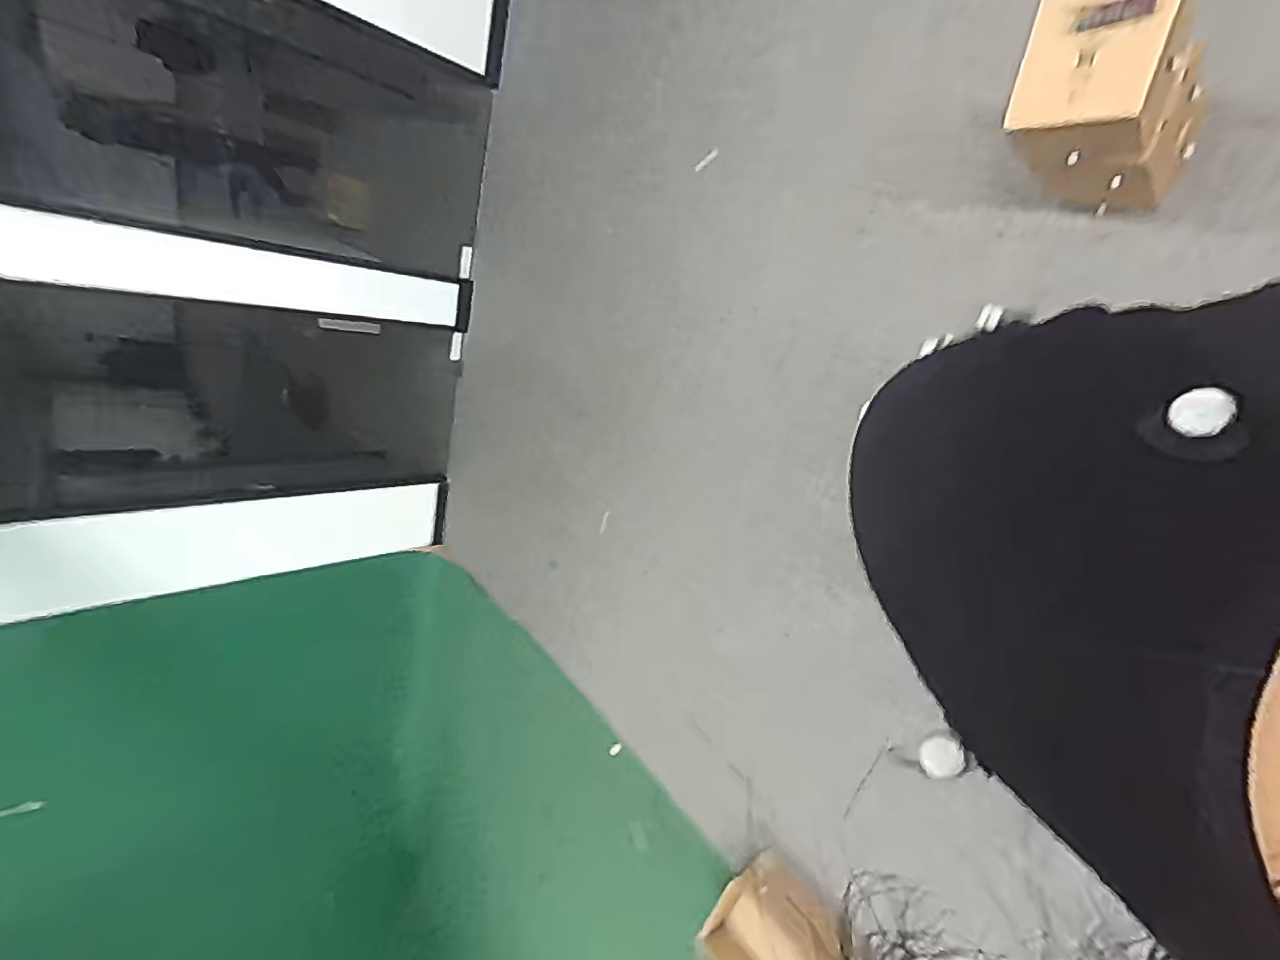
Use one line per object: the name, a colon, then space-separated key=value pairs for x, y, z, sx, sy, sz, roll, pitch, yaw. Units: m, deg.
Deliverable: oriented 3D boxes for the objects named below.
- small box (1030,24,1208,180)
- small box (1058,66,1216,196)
small box: x=0.814 y=-0.625 z=0.920 sx=0.179 sy=0.176 sz=0.168 roll=28 pitch=114 yaw=43
small box: x=0.935 y=-0.652 z=1.027 sx=0.179 sy=0.176 sz=0.168 roll=30 pitch=117 yaw=40
